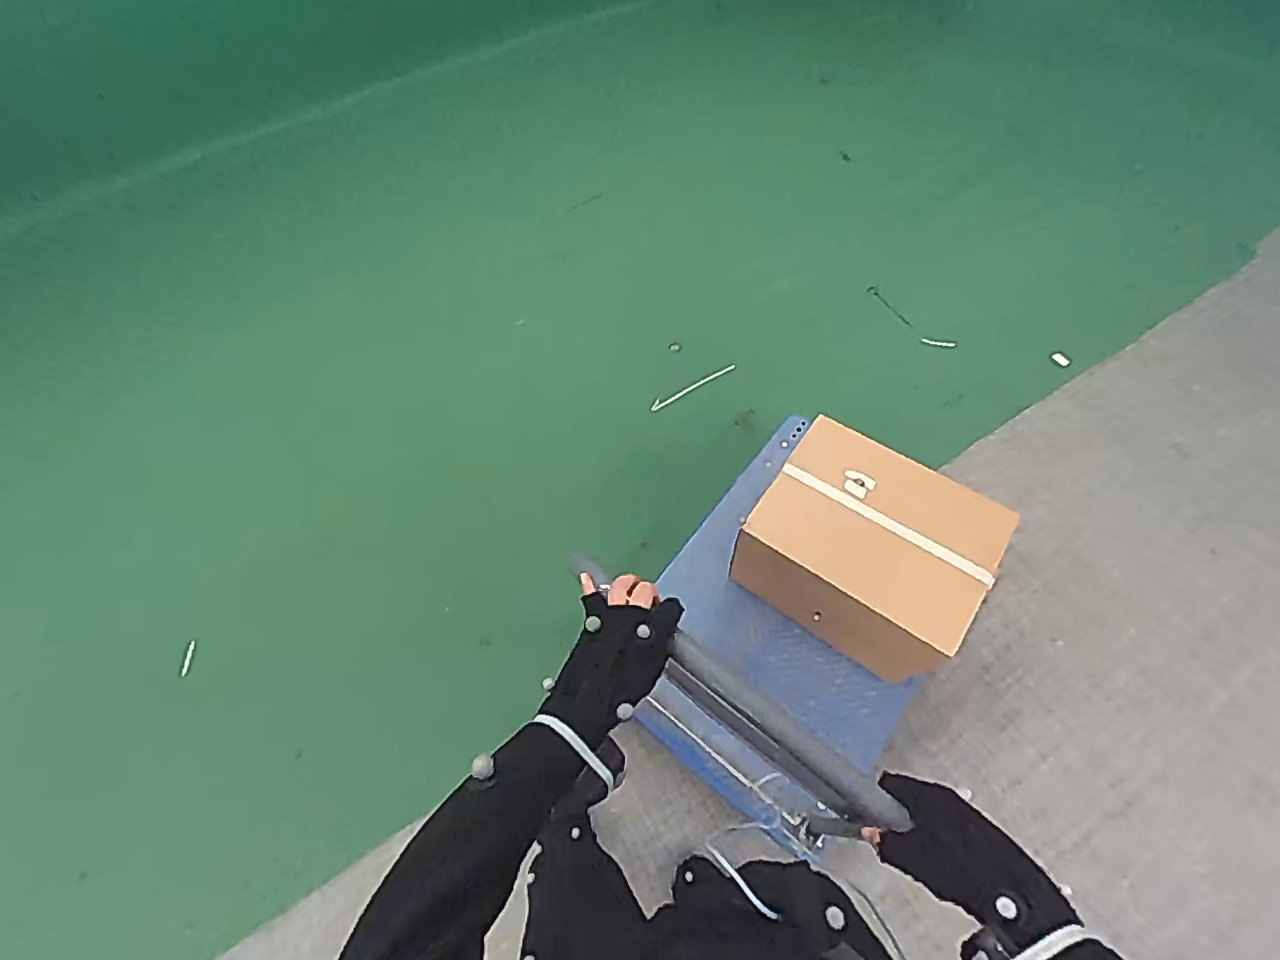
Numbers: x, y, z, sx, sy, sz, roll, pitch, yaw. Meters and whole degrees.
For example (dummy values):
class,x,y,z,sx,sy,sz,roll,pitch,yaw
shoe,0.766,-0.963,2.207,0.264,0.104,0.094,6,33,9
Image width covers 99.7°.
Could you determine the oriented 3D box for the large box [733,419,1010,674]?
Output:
class,x,y,z,sx,sy,sz,roll,pitch,yaw
large box,0.450,0.146,1.137,0.408,0.320,0.320,31,68,20
